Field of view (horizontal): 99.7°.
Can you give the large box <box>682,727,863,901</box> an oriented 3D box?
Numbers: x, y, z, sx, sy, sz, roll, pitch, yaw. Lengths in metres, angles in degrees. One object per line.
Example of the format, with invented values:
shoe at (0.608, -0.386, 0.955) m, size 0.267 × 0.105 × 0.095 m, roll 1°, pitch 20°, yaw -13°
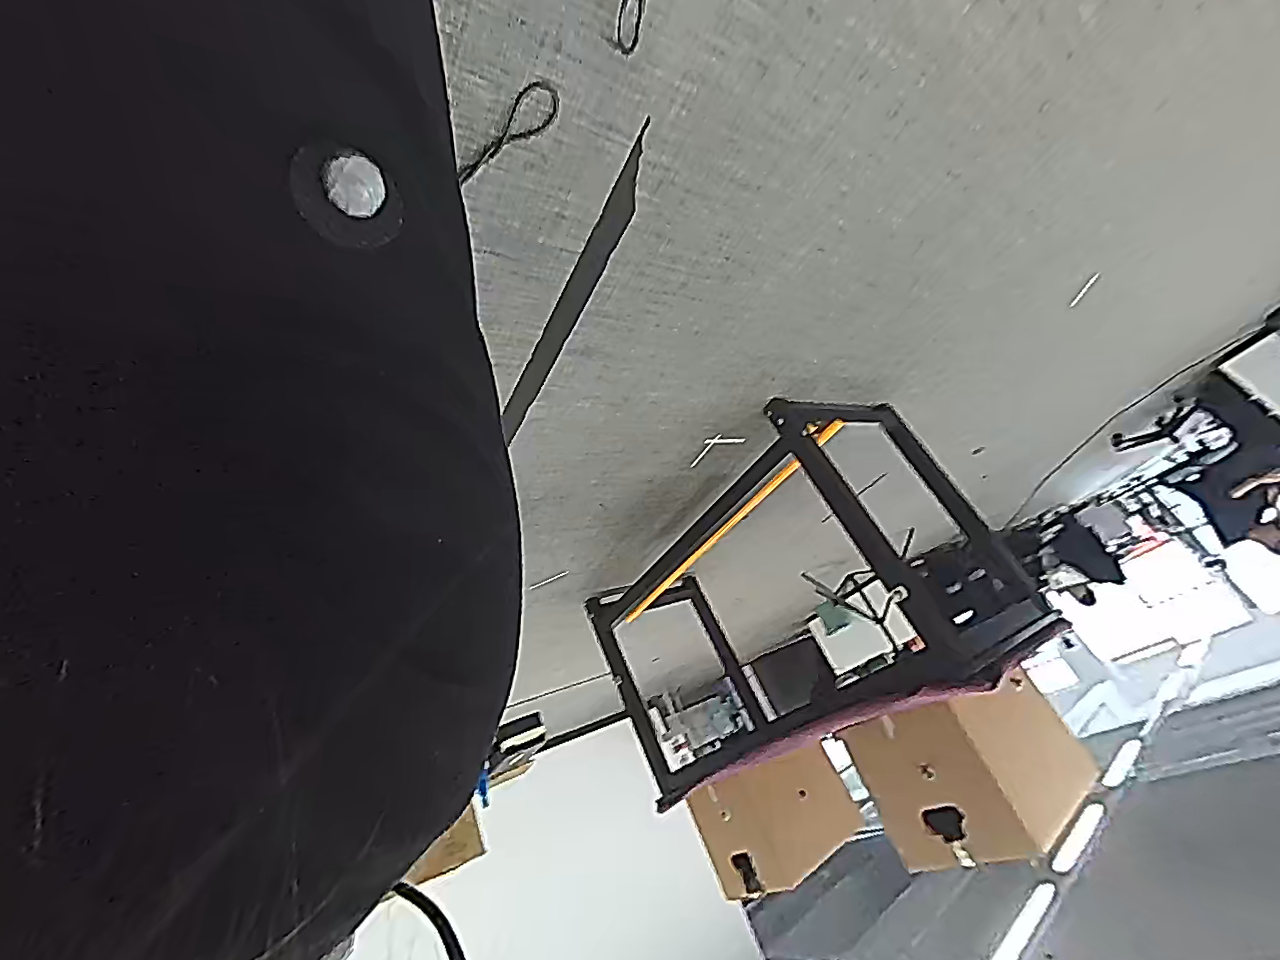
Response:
large box at (0.414, 1.054, 1.731) m, size 0.408 × 0.320 × 0.320 m, roll -5°, pitch 147°, yaw -39°
